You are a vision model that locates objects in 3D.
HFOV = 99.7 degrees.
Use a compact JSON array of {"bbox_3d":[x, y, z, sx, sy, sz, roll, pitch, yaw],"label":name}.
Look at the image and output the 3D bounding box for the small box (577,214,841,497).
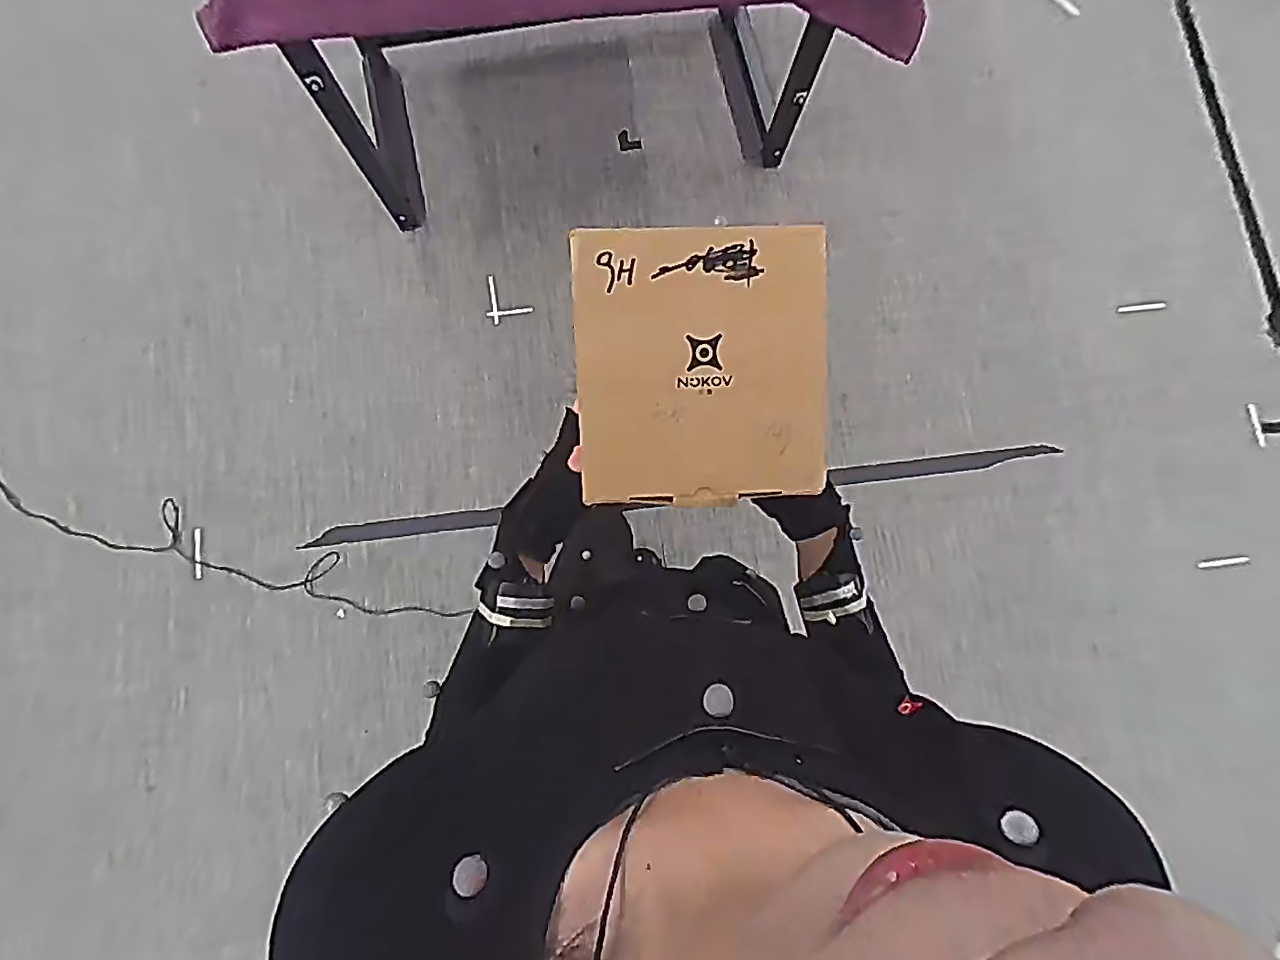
[{"bbox_3d":[0.040,-0.088,0.422,0.168,0.176,0.179,-2,97,-4],"label":"small box"}]
